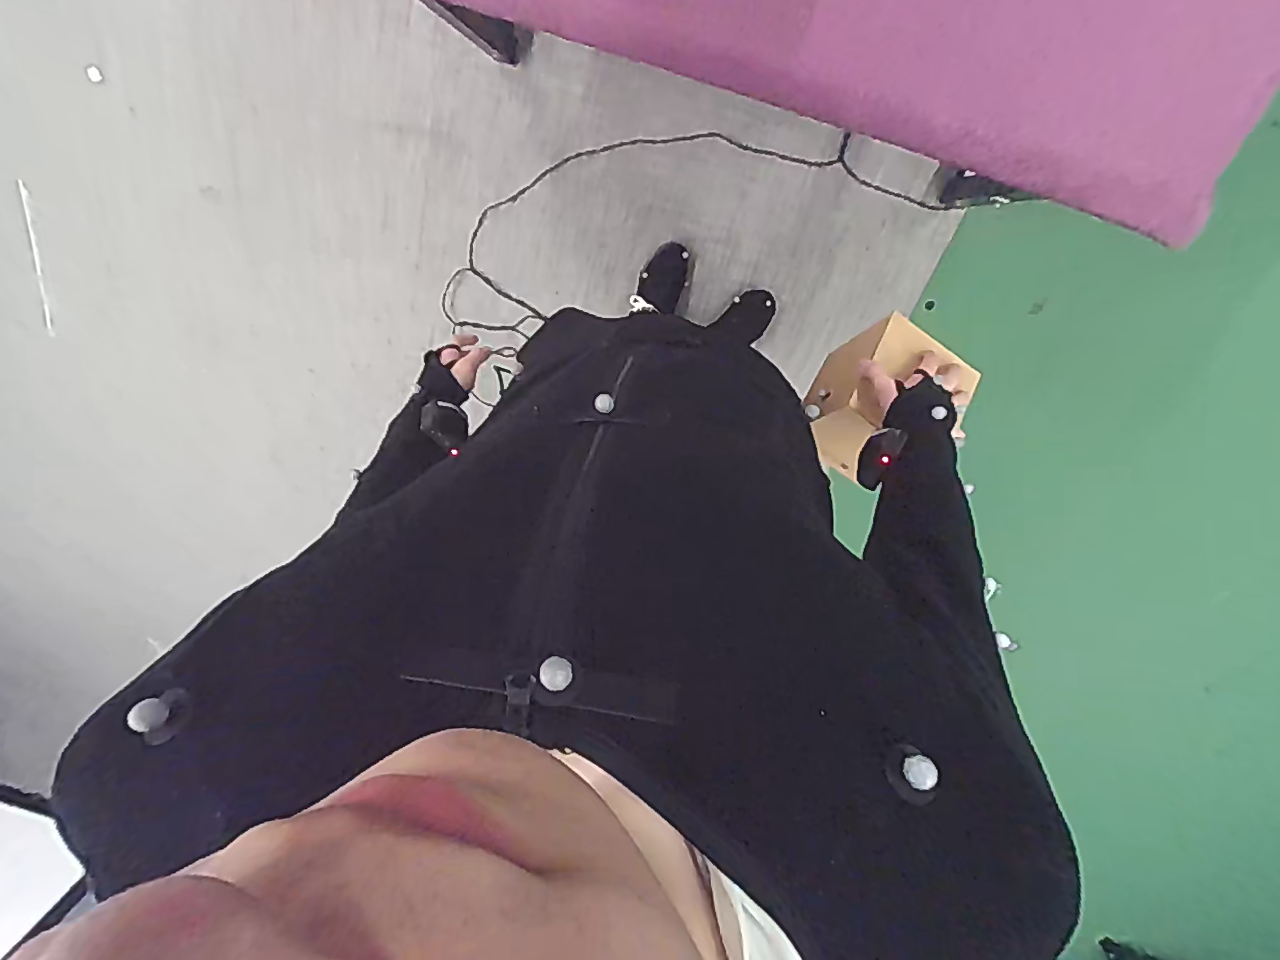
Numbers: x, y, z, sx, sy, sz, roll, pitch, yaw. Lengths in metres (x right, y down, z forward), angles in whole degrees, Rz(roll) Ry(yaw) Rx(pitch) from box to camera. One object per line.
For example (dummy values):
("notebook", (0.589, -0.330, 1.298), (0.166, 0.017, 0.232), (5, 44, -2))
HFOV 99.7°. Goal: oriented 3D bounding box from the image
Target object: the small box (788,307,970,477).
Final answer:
("small box", (0.357, -0.123, 0.840), (0.168, 0.176, 0.179), (33, 74, -8))
